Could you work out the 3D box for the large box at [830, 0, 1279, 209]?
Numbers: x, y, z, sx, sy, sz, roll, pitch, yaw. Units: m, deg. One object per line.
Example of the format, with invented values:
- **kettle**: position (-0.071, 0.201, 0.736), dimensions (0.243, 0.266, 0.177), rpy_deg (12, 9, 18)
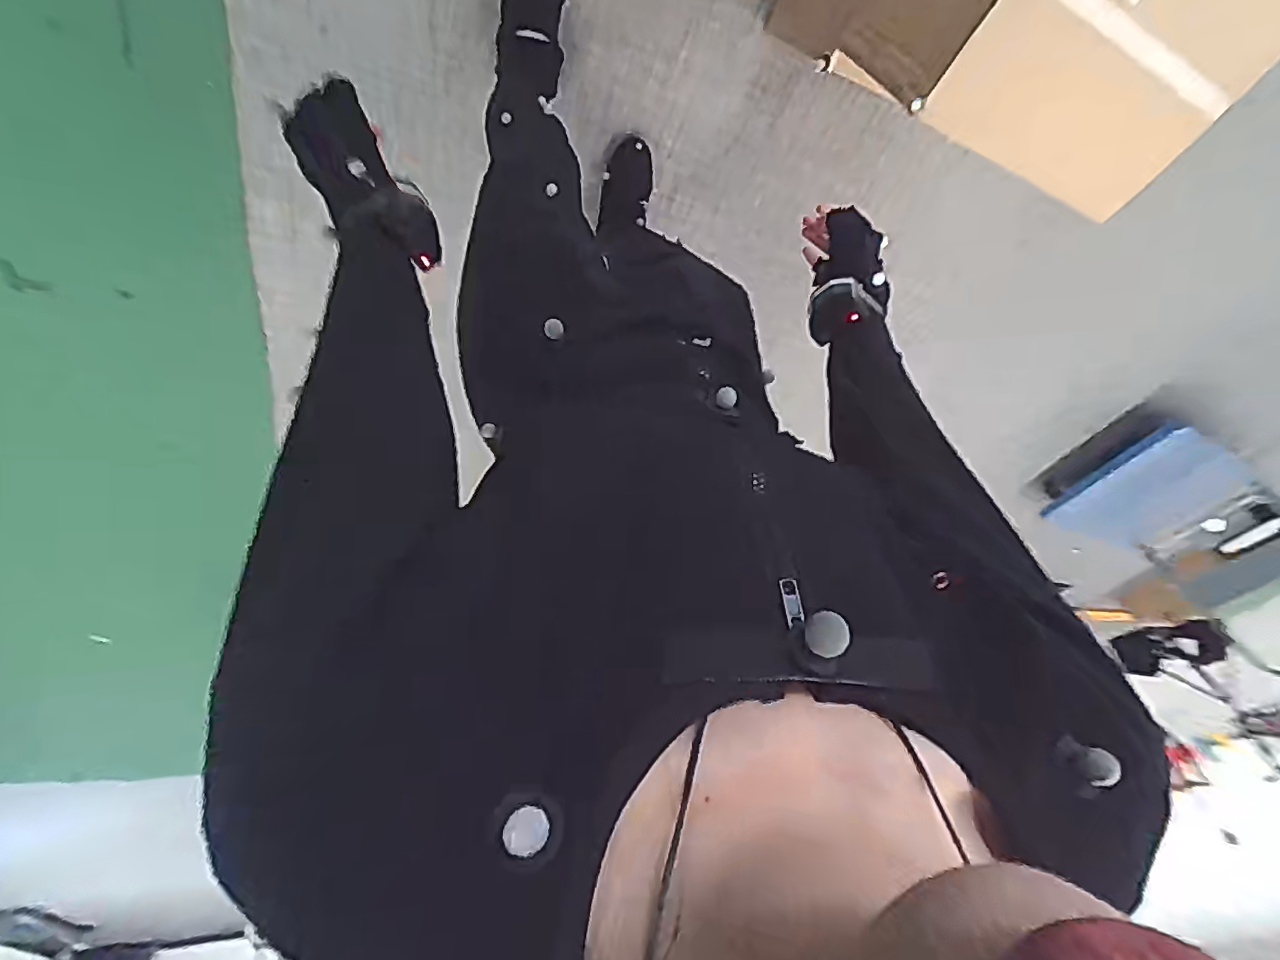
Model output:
- **large box**: position (0.544, -0.636, 0.714), dimensions (0.408, 0.320, 0.320), rpy_deg (10, 139, -22)
